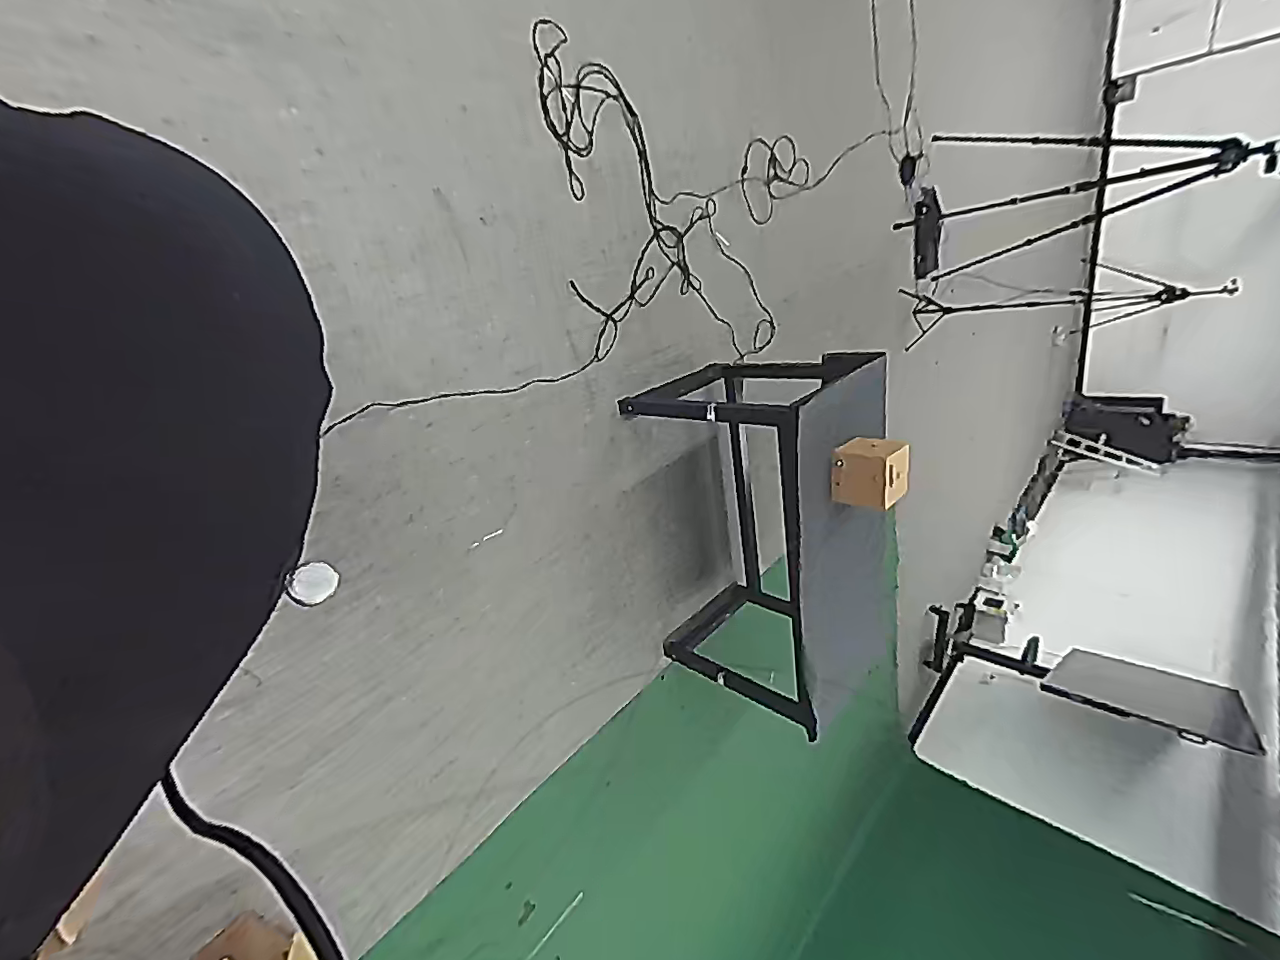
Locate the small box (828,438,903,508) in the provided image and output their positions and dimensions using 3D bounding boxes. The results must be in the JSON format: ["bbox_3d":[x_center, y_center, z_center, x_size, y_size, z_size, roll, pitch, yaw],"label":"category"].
[{"bbox_3d":[0.697,-0.027,1.679,0.179,0.176,0.168,-24,115,-41],"label":"small box"}]
